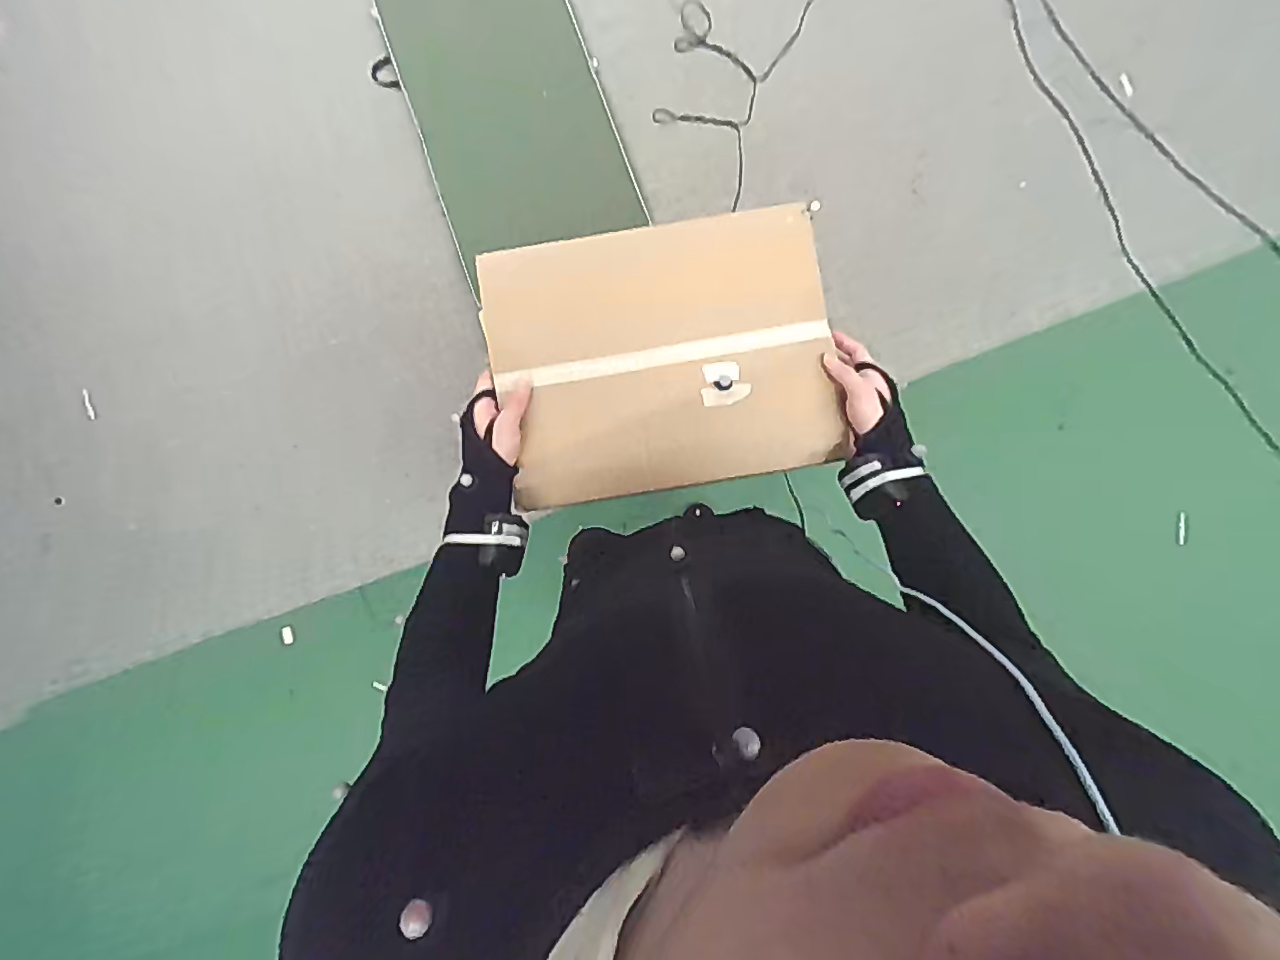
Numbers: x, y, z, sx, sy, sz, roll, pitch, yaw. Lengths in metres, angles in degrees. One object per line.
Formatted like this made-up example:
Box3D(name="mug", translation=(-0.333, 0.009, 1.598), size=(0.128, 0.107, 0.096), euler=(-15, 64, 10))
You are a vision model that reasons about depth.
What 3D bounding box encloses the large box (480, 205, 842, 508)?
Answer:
Box3D(name="large box", translation=(0.023, -0.147, 0.805), size=(0.408, 0.320, 0.320), euler=(-10, 89, 0))
